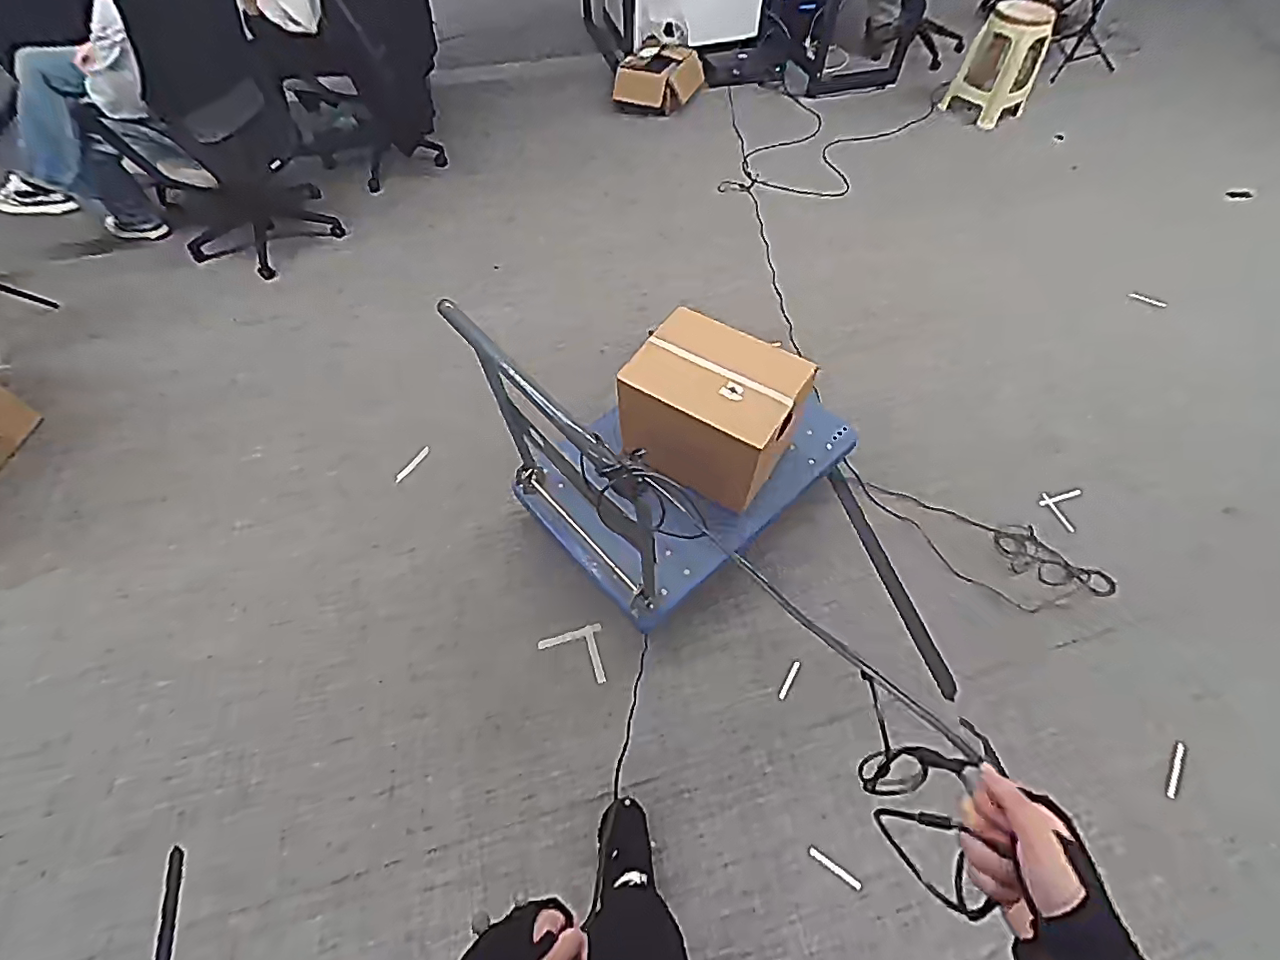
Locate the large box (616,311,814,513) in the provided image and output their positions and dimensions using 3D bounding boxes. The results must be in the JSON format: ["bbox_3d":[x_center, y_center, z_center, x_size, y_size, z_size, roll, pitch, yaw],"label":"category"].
[{"bbox_3d":[0.184,-0.181,1.454,0.408,0.320,0.320,29,63,17],"label":"large box"}]
